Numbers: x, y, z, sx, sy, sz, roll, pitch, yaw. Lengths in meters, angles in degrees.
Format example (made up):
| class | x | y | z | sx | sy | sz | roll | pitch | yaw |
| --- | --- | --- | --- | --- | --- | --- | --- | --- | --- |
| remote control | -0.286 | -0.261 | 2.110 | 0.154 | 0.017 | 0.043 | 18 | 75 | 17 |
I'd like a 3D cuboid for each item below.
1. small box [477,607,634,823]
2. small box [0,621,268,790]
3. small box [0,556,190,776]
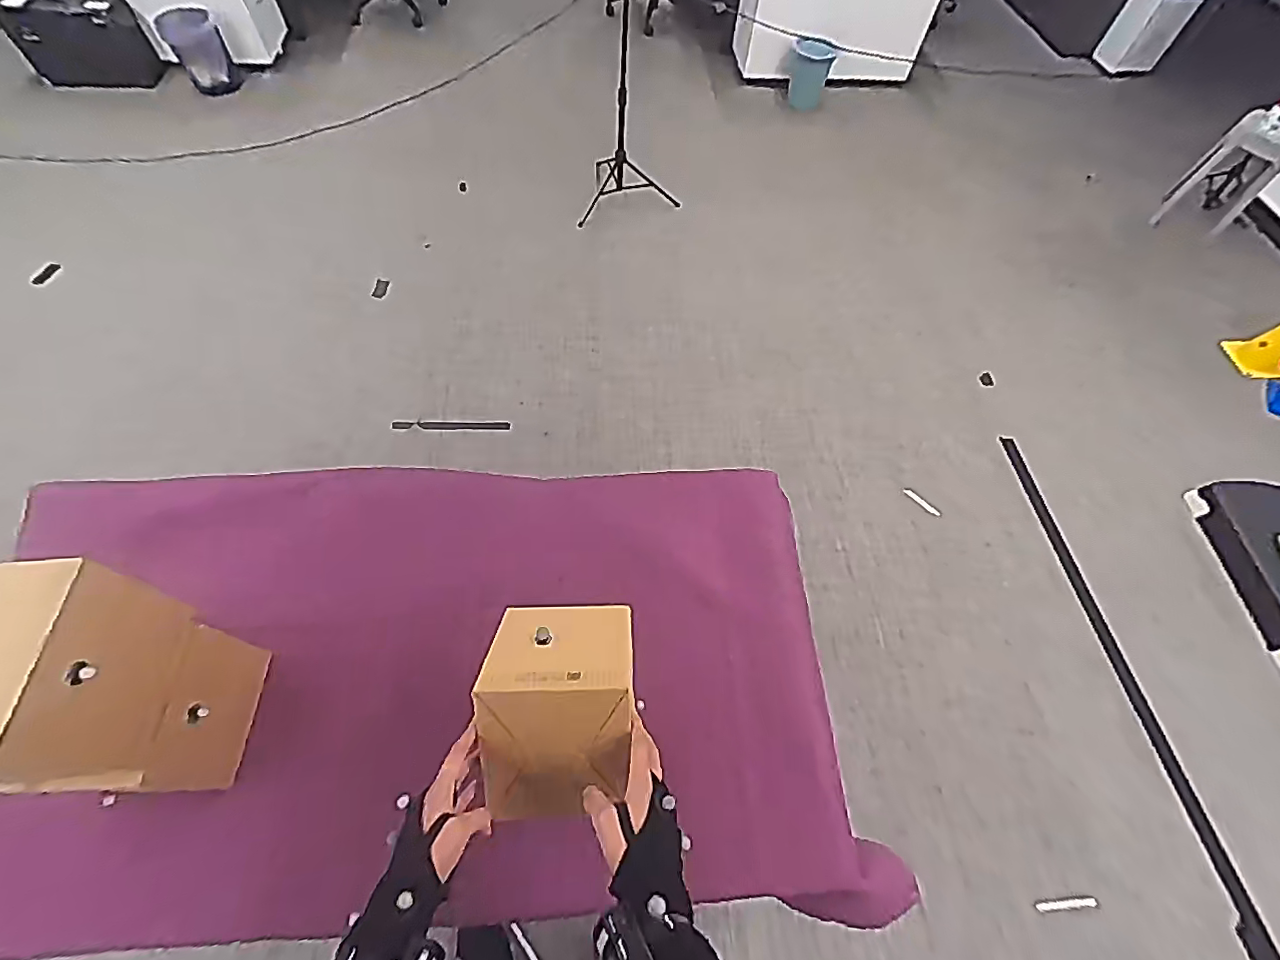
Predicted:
| class | x | y | z | sx | sy | sz | roll | pitch | yaw |
| --- | --- | --- | --- | --- | --- | --- | --- | --- | --- |
| small box | -0.092 | 0.273 | 0.656 | 0.168 | 0.176 | 0.179 | -1 | 104 | -1 |
| small box | -0.608 | 0.283 | 0.672 | 0.168 | 0.176 | 0.179 | 1 | 60 | -4 |
| small box | -0.603 | 0.191 | 0.536 | 0.168 | 0.176 | 0.179 | -3 | 60 | -6 |
